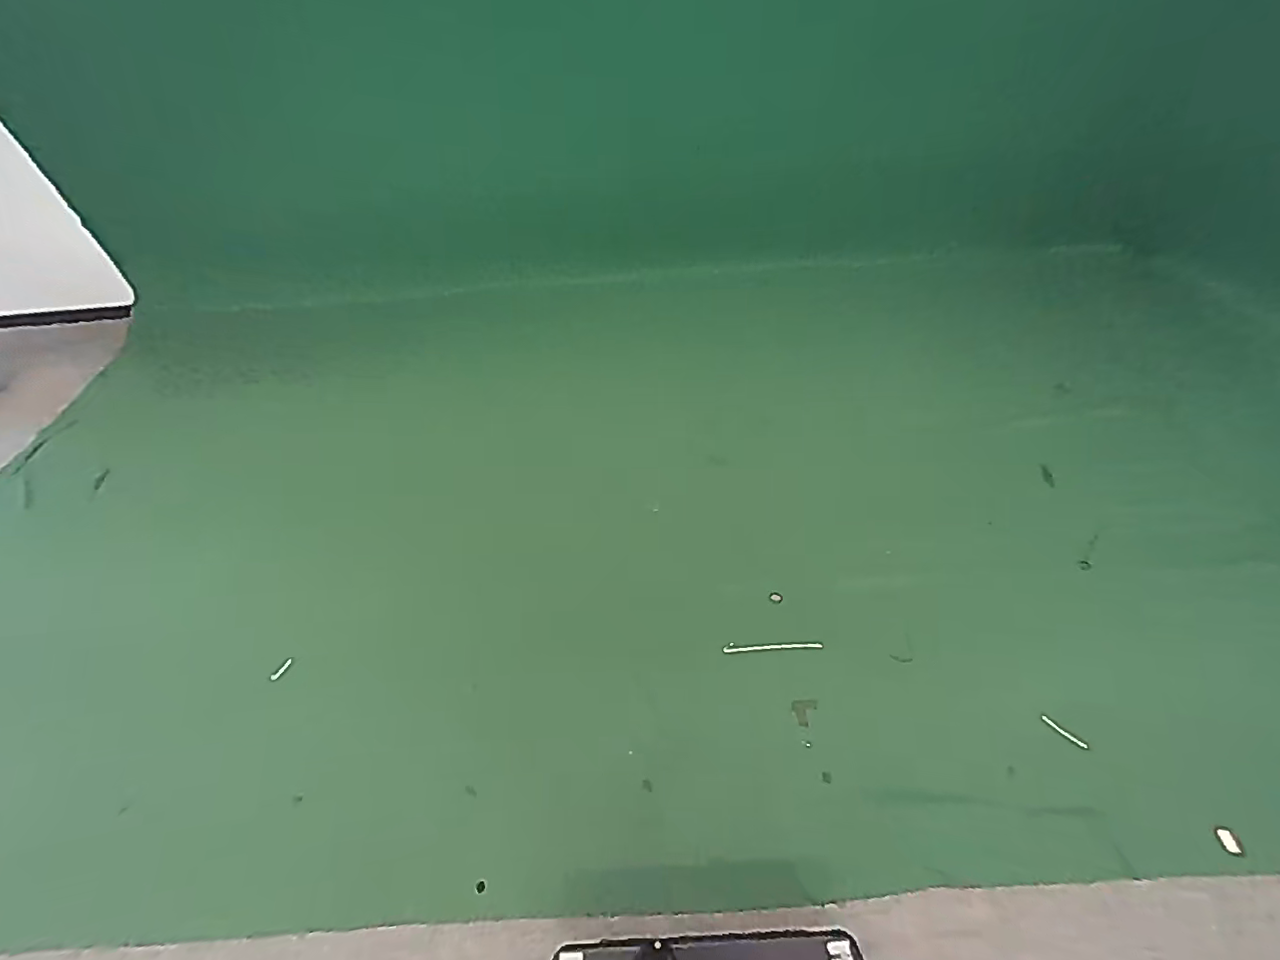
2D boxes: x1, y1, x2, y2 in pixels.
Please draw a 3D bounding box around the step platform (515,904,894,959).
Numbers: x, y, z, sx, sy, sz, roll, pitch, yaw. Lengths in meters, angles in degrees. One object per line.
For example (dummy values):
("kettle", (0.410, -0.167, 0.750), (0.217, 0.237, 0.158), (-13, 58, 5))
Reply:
("step platform", (0.117, 0.969, 0.976), (0.684, 0.204, 0.286), (-5, 49, 1))
